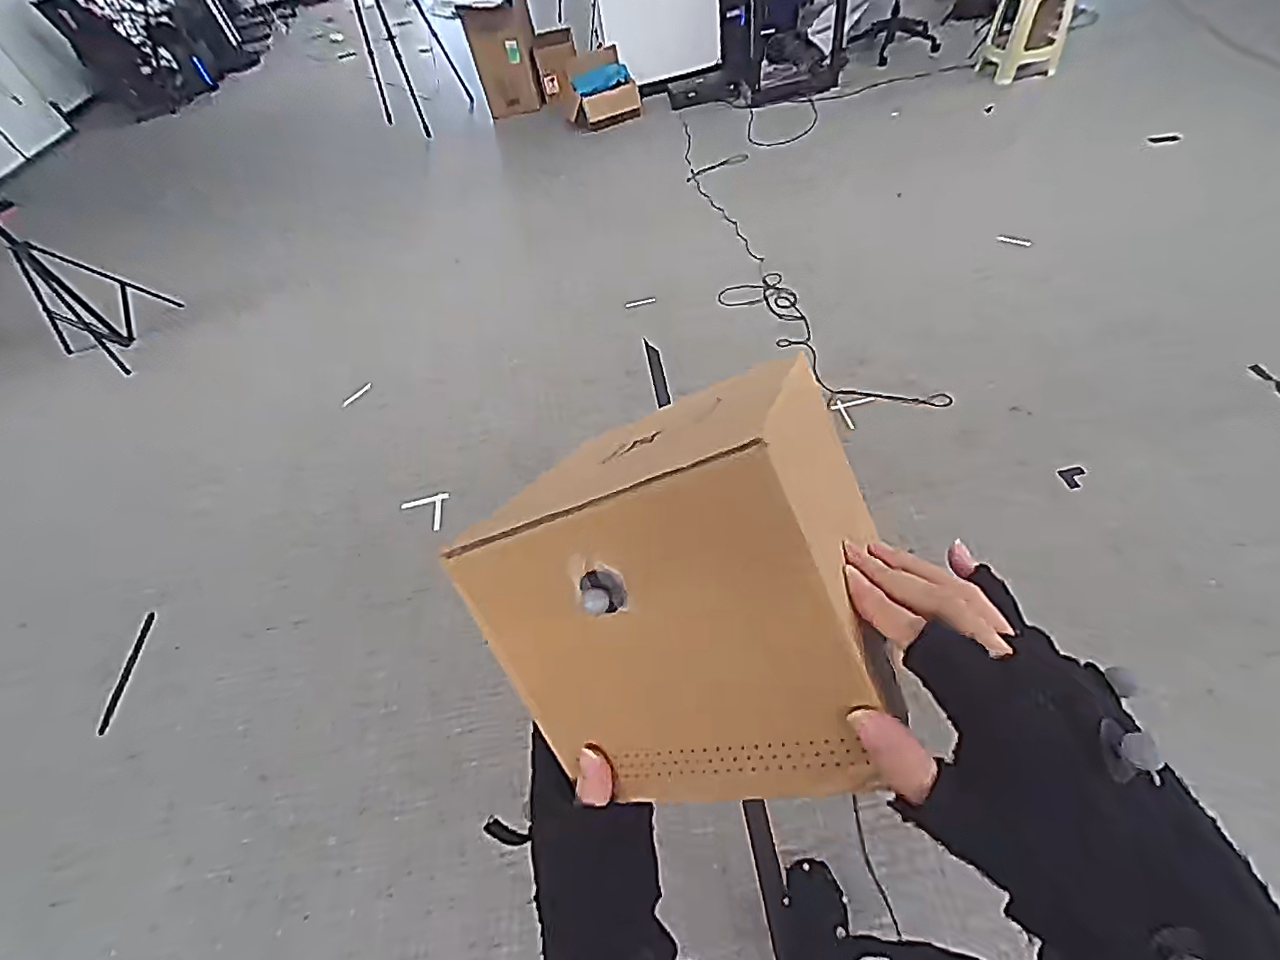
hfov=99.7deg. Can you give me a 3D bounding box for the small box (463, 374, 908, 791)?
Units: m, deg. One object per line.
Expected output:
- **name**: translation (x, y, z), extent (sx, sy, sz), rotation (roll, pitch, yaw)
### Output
- **small box**: translation (0.038, 0.060, 0.329), extent (0.179, 0.176, 0.168), rotation (-20, 14, 27)
